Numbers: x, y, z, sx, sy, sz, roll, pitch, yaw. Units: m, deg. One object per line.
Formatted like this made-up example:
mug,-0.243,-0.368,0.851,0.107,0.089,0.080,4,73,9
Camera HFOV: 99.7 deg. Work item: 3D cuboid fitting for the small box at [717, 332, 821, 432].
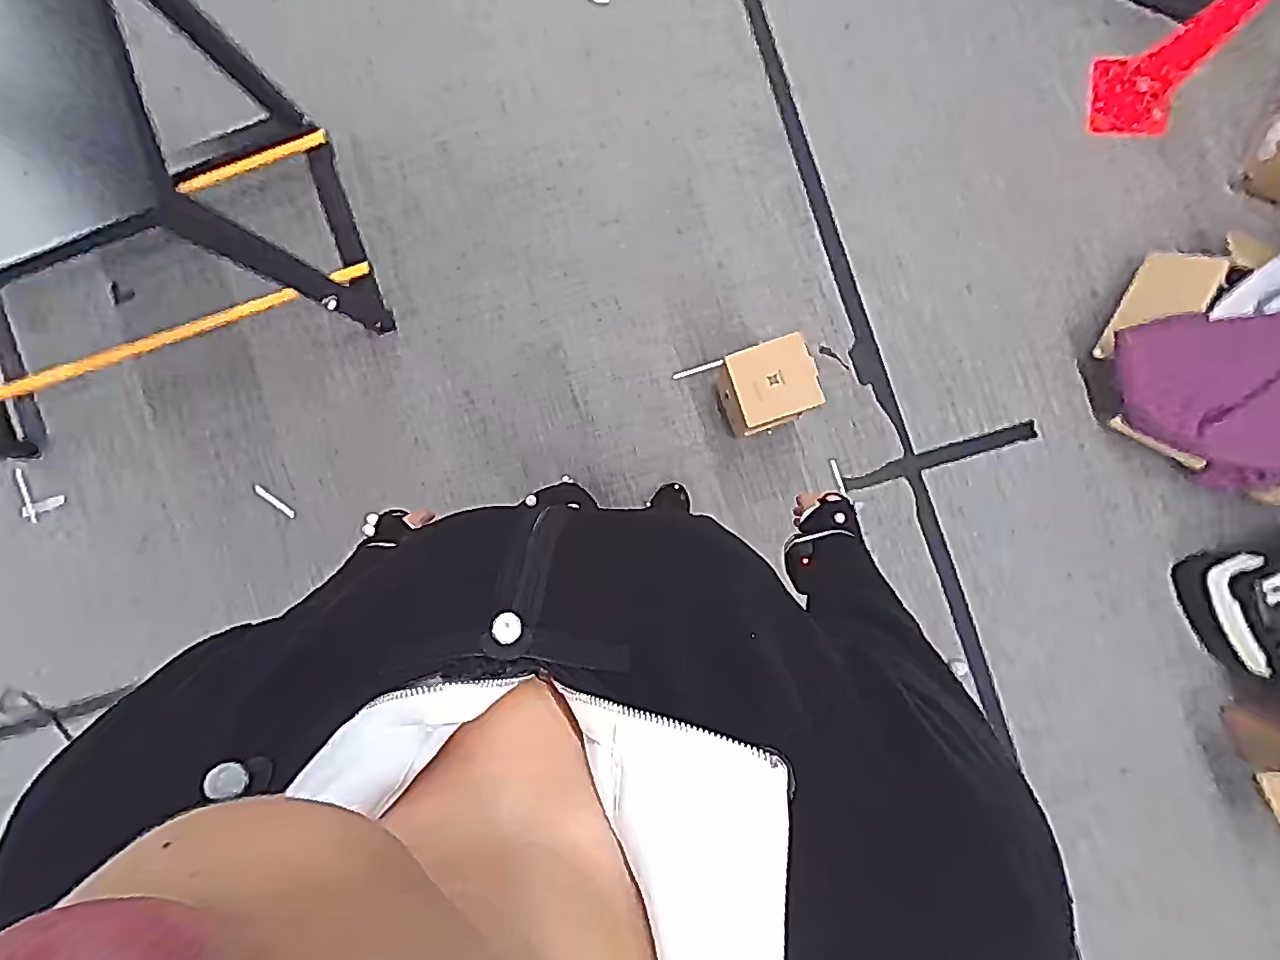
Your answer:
small box,0.287,-0.217,1.241,0.179,0.176,0.168,-18,88,4

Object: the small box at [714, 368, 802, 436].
small box,0.299,-0.219,1.403,0.168,0.176,0.179,-19,90,2
